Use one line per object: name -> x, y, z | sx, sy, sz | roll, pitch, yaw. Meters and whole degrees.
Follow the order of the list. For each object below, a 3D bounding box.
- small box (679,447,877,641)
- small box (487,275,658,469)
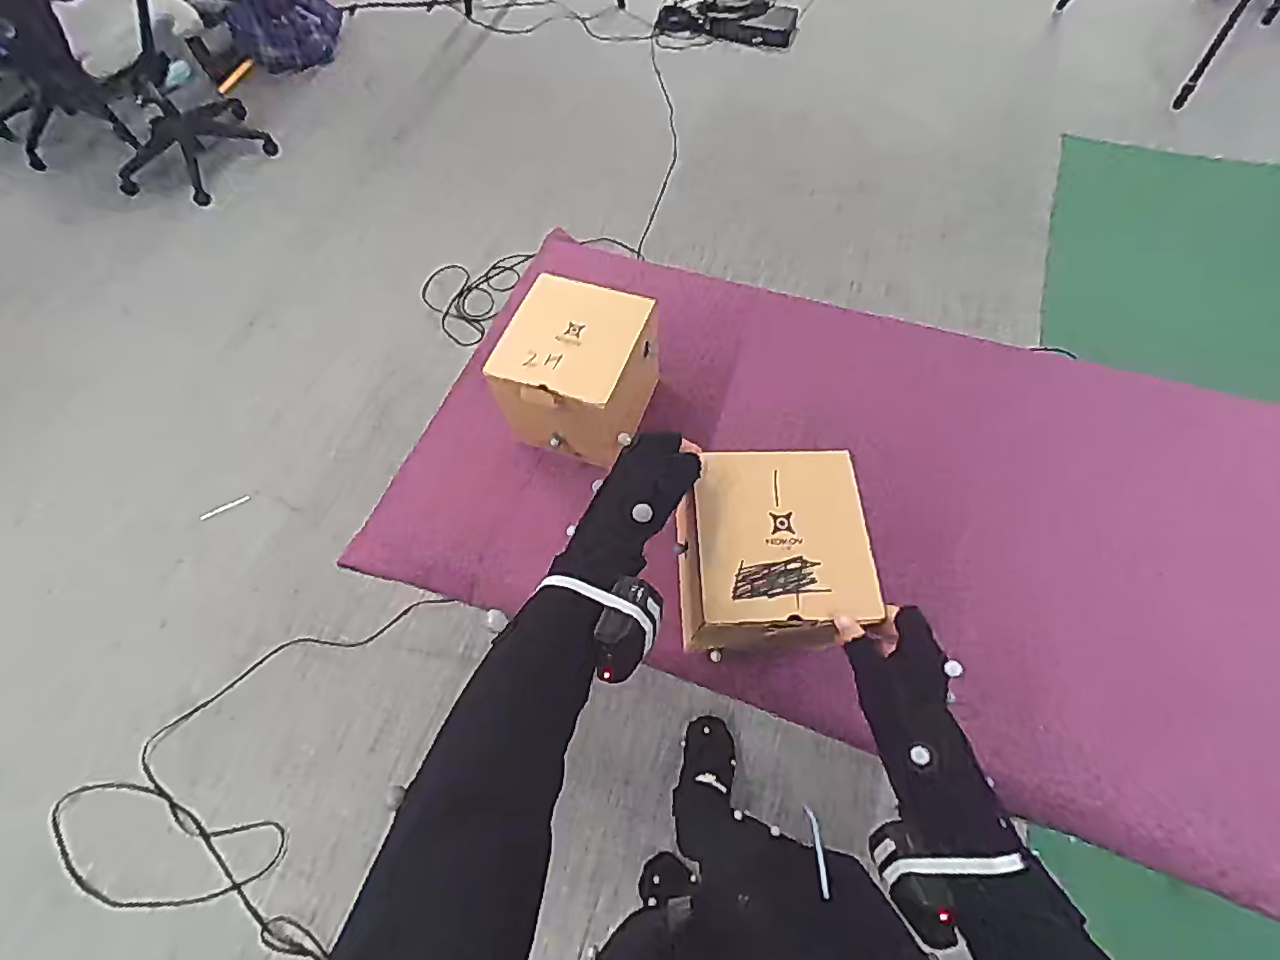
small box -> 0.132, 0.079, 0.594 | 0.168, 0.176, 0.179 | -1, 64, -1
small box -> -0.079, -0.144, 0.749 | 0.168, 0.176, 0.179 | 17, 67, 13
